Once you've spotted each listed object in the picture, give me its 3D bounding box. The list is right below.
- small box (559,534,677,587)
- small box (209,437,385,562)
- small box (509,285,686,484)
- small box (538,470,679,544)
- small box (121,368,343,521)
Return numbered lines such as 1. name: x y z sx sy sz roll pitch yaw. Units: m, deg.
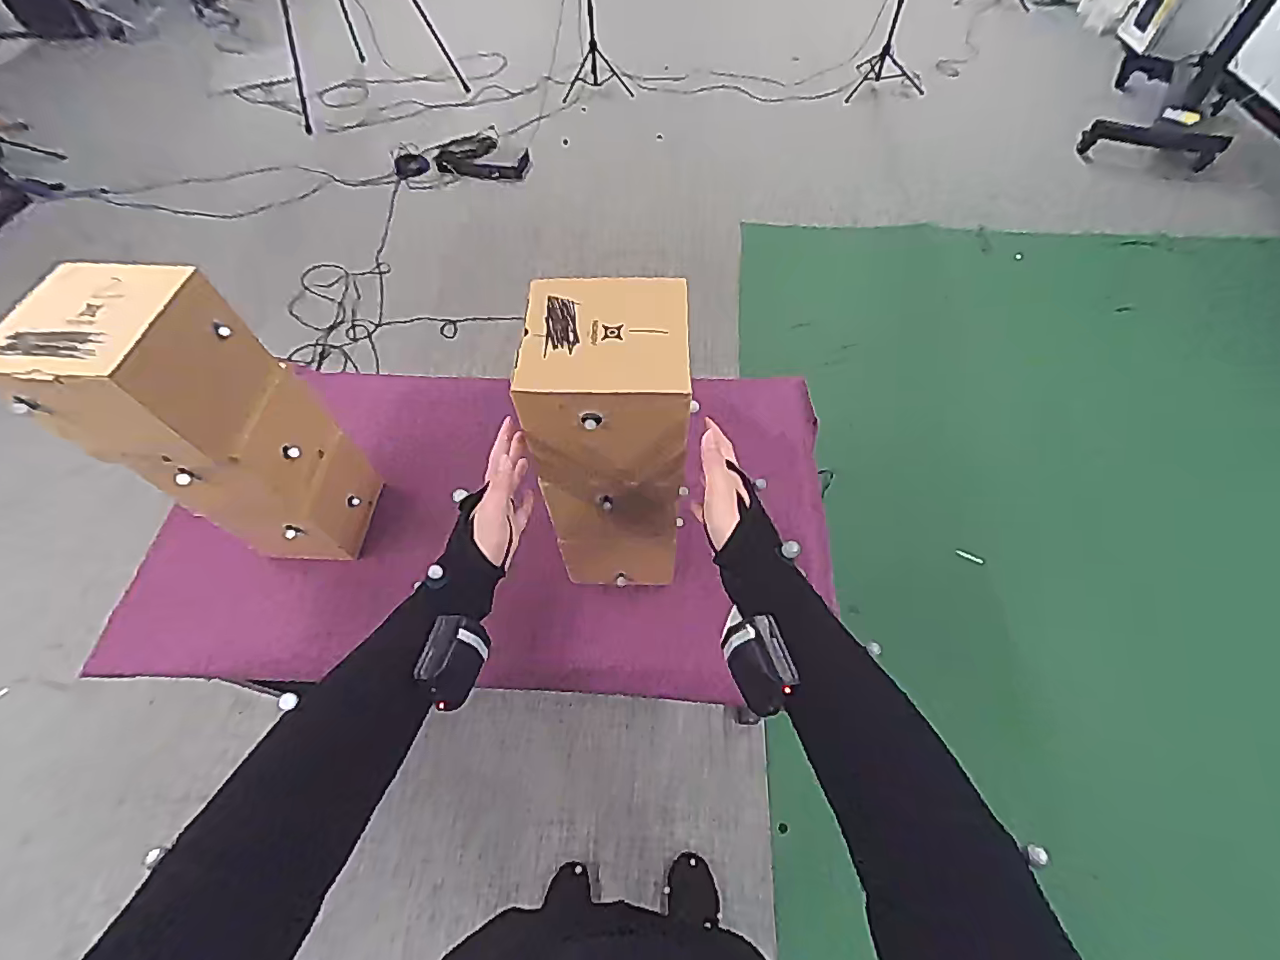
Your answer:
1. small box: -0.030 0.072 0.906 0.179 0.176 0.168 0 57 2
2. small box: -0.581 0.035 0.948 0.179 0.176 0.168 2 58 3
3. small box: -0.036 -0.105 0.631 0.179 0.176 0.168 1 59 2
4. small box: -0.033 -0.017 0.769 0.179 0.176 0.168 1 59 3
5. small box: -0.586 -0.048 0.809 0.179 0.176 0.168 1 59 3
